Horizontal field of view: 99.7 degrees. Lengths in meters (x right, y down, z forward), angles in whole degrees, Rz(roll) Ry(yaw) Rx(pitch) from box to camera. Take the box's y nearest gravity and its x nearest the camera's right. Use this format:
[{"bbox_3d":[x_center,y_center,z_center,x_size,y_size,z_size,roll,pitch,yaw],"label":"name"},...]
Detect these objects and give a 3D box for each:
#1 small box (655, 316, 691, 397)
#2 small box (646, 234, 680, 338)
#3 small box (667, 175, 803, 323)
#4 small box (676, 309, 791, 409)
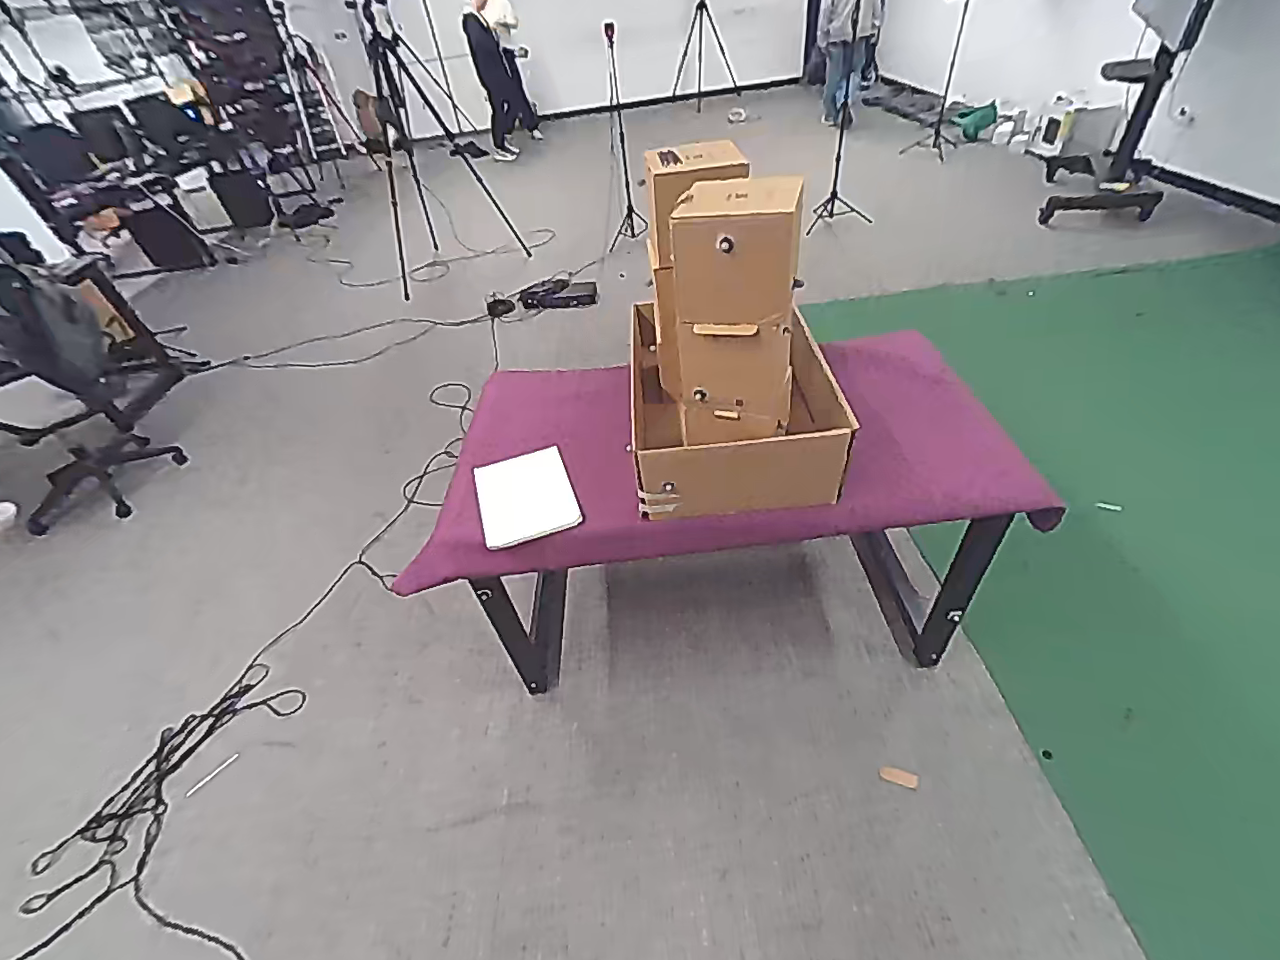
[{"bbox_3d":[0.126,-0.310,1.286,0.168,0.176,0.179,-5,45,4],"label":"small box"},{"bbox_3d":[0.113,-0.423,1.171,0.179,0.176,0.168,-7,44,2],"label":"small box"},{"bbox_3d":[0.154,-0.360,0.849,0.179,0.176,0.168,7,45,18],"label":"small box"},{"bbox_3d":[0.174,-0.243,0.961,0.168,0.176,0.179,8,44,20],"label":"small box"}]
